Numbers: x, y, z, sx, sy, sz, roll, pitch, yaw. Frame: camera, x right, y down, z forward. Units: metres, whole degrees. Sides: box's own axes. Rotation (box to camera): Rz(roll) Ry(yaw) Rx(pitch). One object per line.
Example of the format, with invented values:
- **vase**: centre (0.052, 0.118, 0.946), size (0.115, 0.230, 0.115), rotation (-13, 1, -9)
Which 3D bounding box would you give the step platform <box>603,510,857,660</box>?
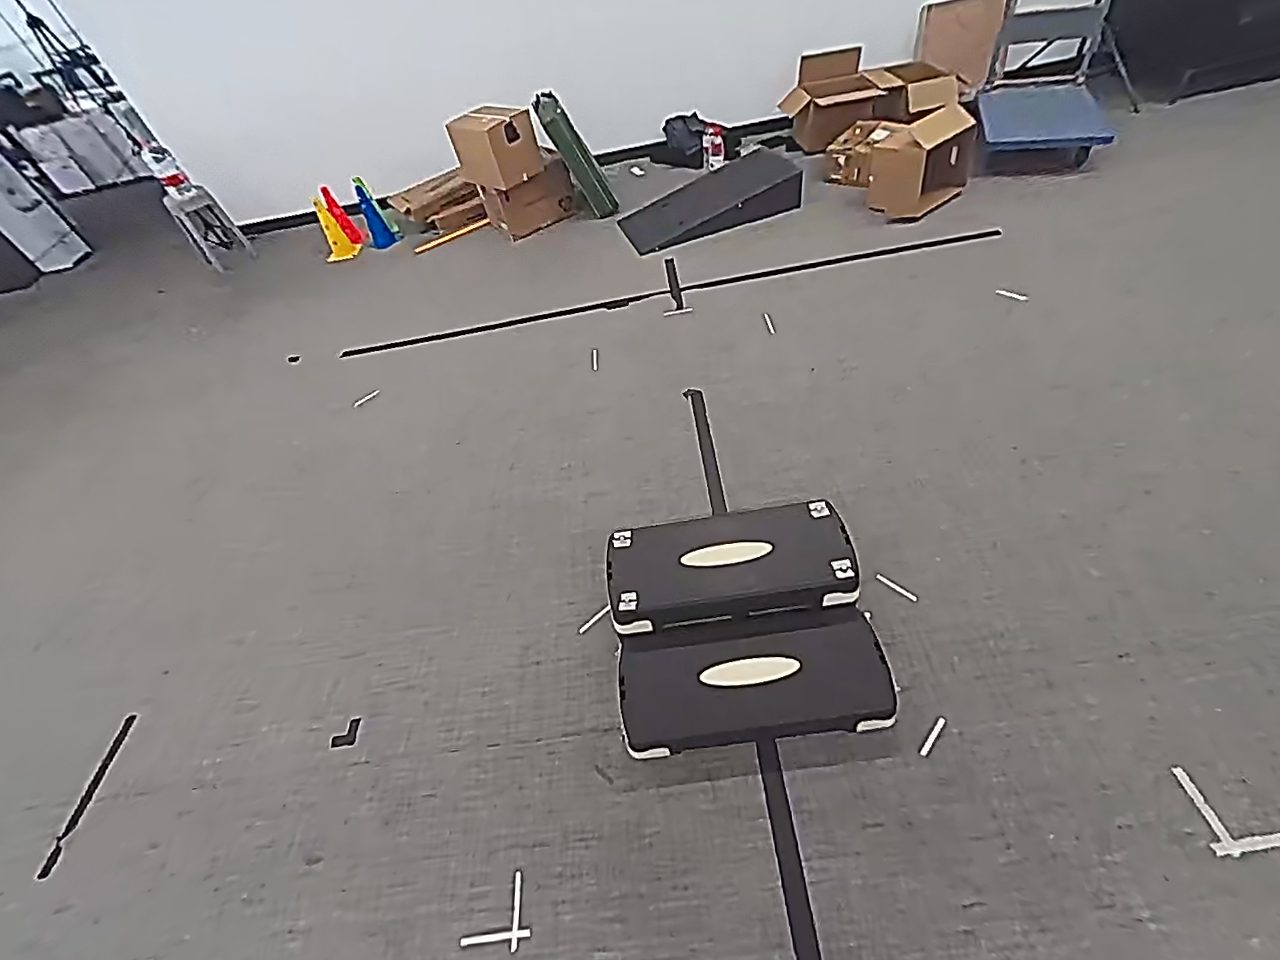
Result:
- **step platform**: centre (0.236, 0.290, 1.516), size (0.684, 0.204, 0.286), rotation (-10, 49, 2)
